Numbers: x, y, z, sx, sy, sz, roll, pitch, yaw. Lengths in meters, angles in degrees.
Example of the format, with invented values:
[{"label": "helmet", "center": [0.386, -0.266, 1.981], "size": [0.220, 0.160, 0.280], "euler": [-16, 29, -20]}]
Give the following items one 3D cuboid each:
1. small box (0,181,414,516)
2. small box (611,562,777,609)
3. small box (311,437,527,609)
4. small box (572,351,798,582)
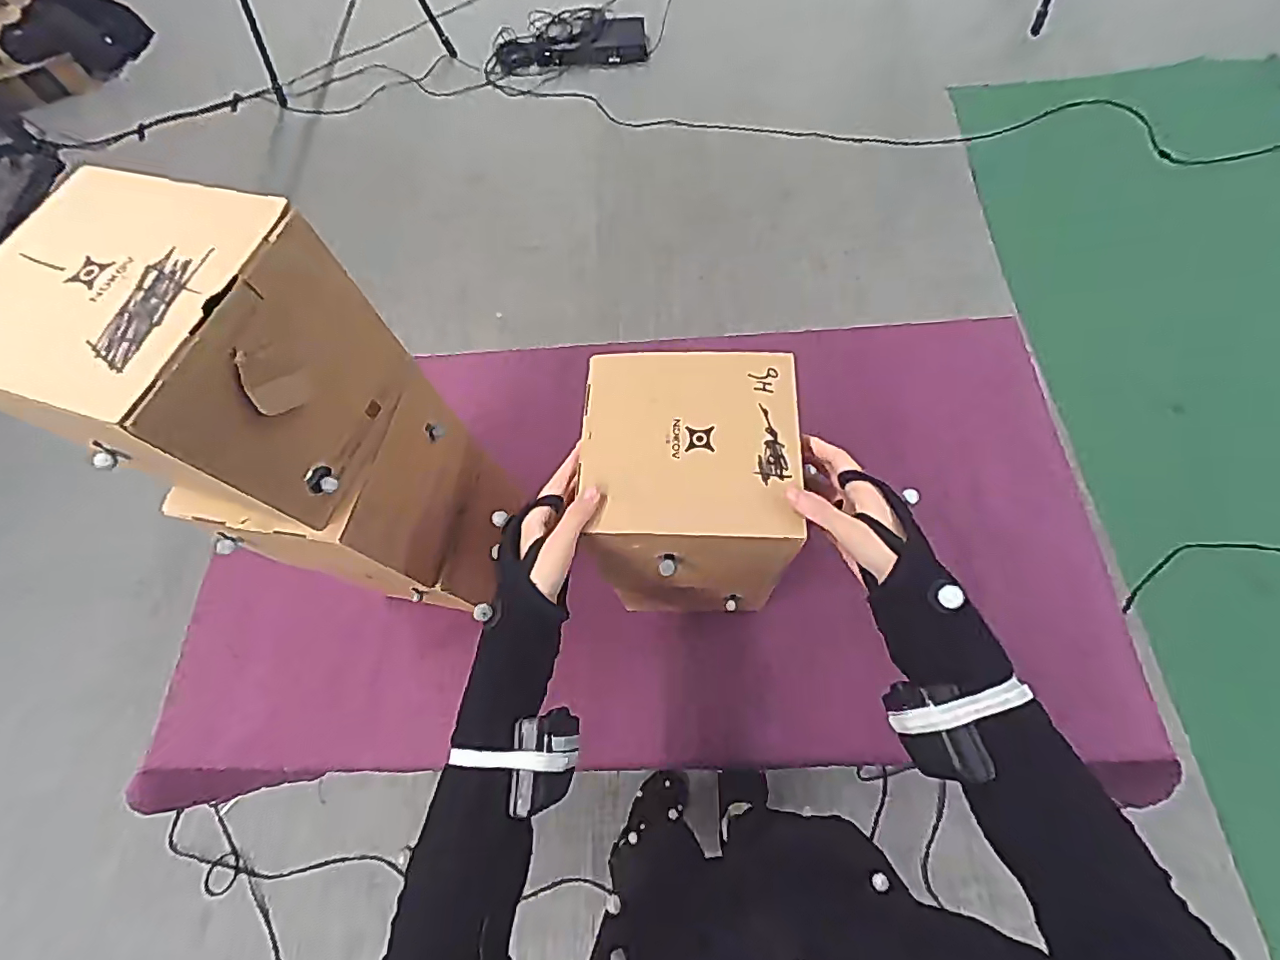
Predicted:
[{"label": "small box", "center": [-0.310, -0.087, 0.411], "size": [0.179, 0.176, 0.168], "euler": [14, 67, 12]}, {"label": "small box", "center": [0.064, 0.060, 0.669], "size": [0.179, 0.176, 0.168], "euler": [-1, 65, 6]}, {"label": "small box", "center": [-0.268, 0.062, 0.702], "size": [0.179, 0.176, 0.168], "euler": [7, 67, 8]}, {"label": "small box", "center": [0.046, -0.004, 0.516], "size": [0.179, 0.176, 0.168], "euler": [0, 65, 7]}]
